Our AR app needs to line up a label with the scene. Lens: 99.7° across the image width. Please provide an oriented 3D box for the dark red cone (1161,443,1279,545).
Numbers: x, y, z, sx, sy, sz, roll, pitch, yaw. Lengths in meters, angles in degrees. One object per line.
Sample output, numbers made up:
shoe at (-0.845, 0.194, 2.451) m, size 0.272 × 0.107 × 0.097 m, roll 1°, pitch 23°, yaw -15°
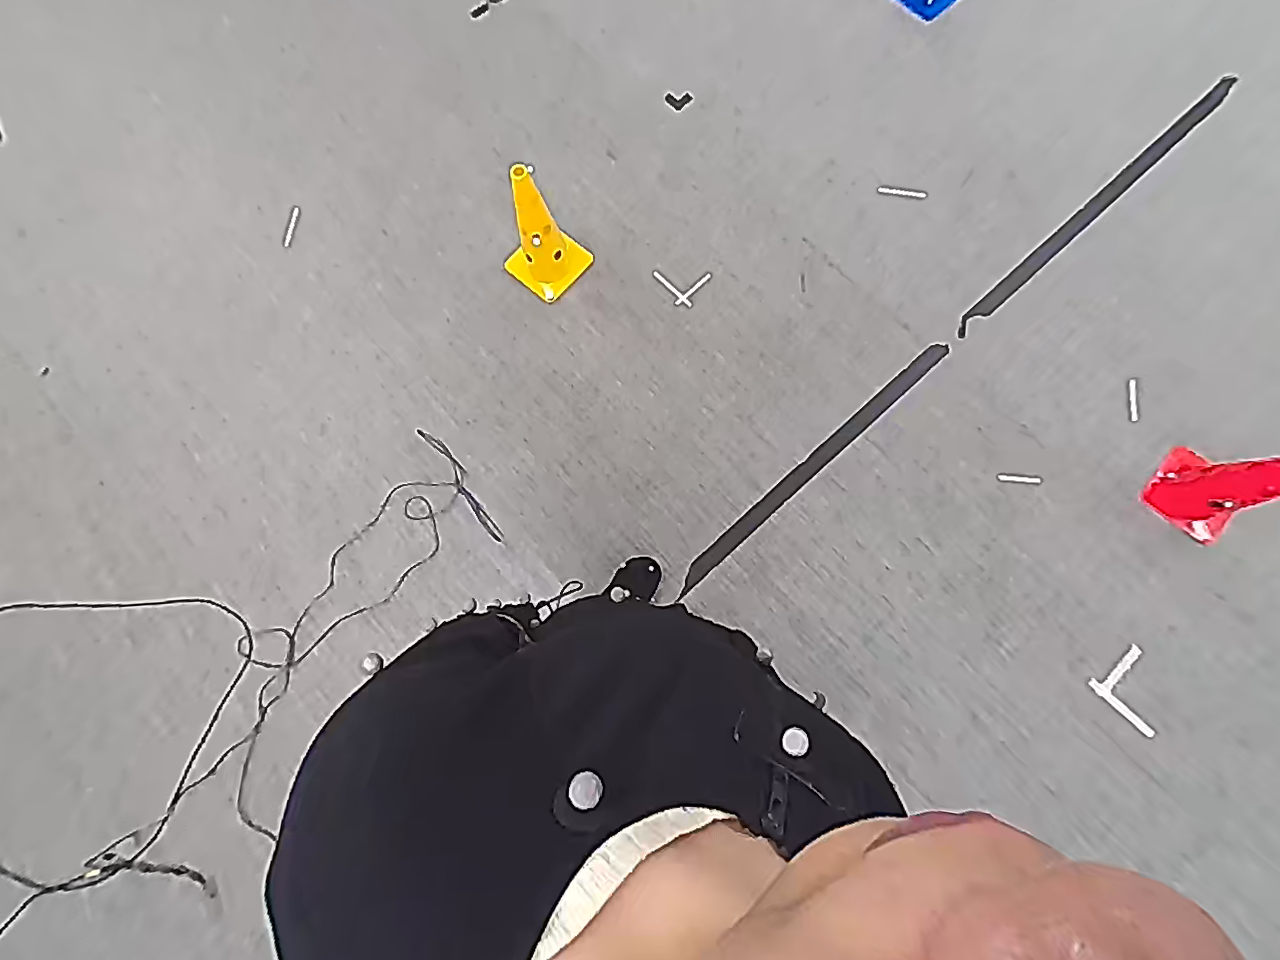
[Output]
dark red cone at (1.415, -0.002, 1.183) m, size 0.201 × 0.394 × 0.202 m, roll 39°, pitch 82°, yaw 11°

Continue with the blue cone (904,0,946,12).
blue cone at (0.912, -1.639, 1.589) m, size 0.193 × 0.380 × 0.192 m, roll -41°, pitch 78°, yaw -7°
